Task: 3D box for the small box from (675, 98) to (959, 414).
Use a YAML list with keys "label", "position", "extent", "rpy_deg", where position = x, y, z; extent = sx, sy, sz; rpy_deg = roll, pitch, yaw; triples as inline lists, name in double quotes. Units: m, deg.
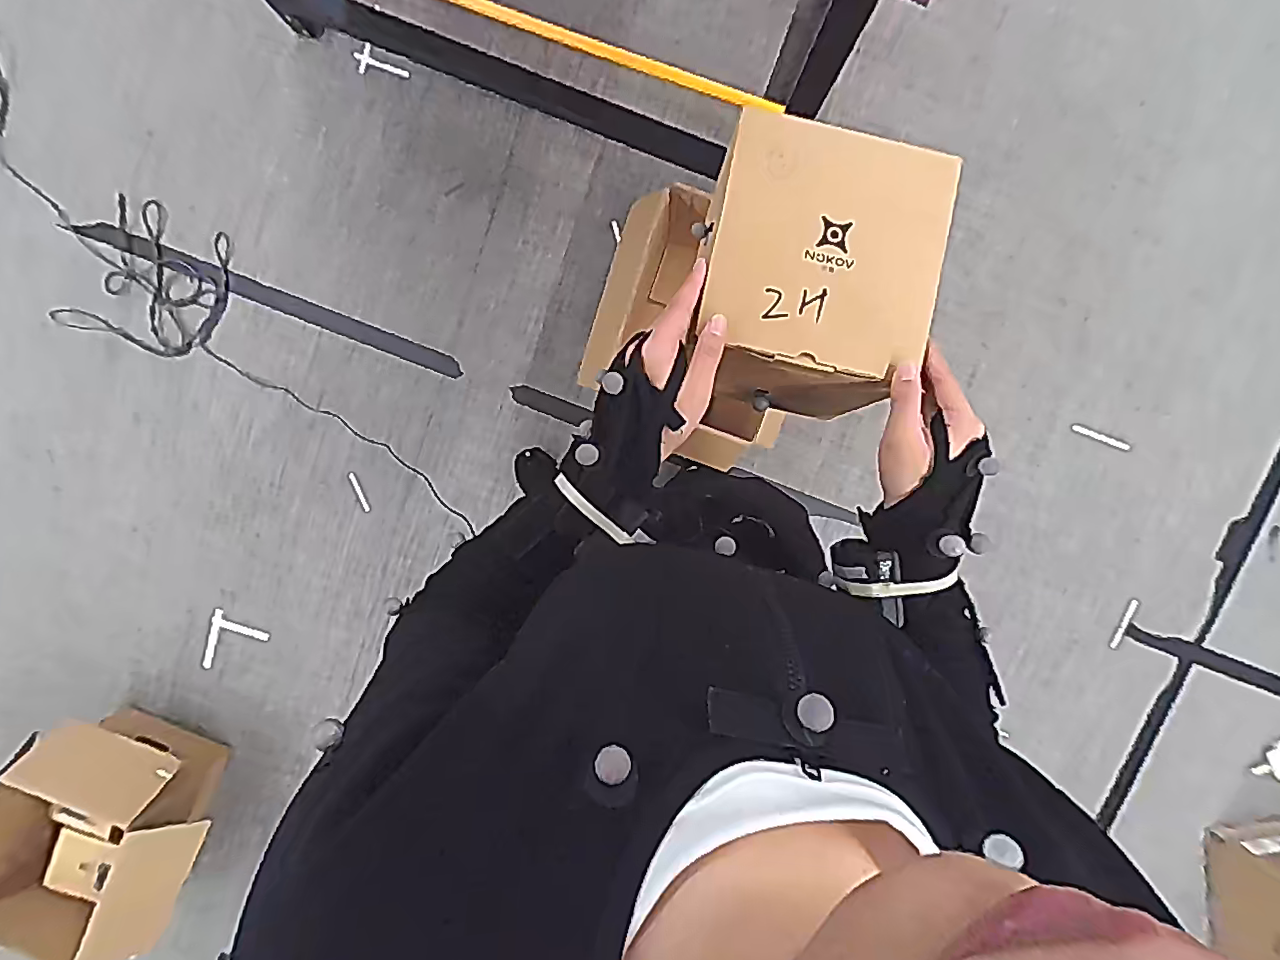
- label: "small box"
  position: [0.130, -0.168, 0.463]
  extent: [0.168, 0.176, 0.179]
  rpy_deg: [12, 88, -2]
